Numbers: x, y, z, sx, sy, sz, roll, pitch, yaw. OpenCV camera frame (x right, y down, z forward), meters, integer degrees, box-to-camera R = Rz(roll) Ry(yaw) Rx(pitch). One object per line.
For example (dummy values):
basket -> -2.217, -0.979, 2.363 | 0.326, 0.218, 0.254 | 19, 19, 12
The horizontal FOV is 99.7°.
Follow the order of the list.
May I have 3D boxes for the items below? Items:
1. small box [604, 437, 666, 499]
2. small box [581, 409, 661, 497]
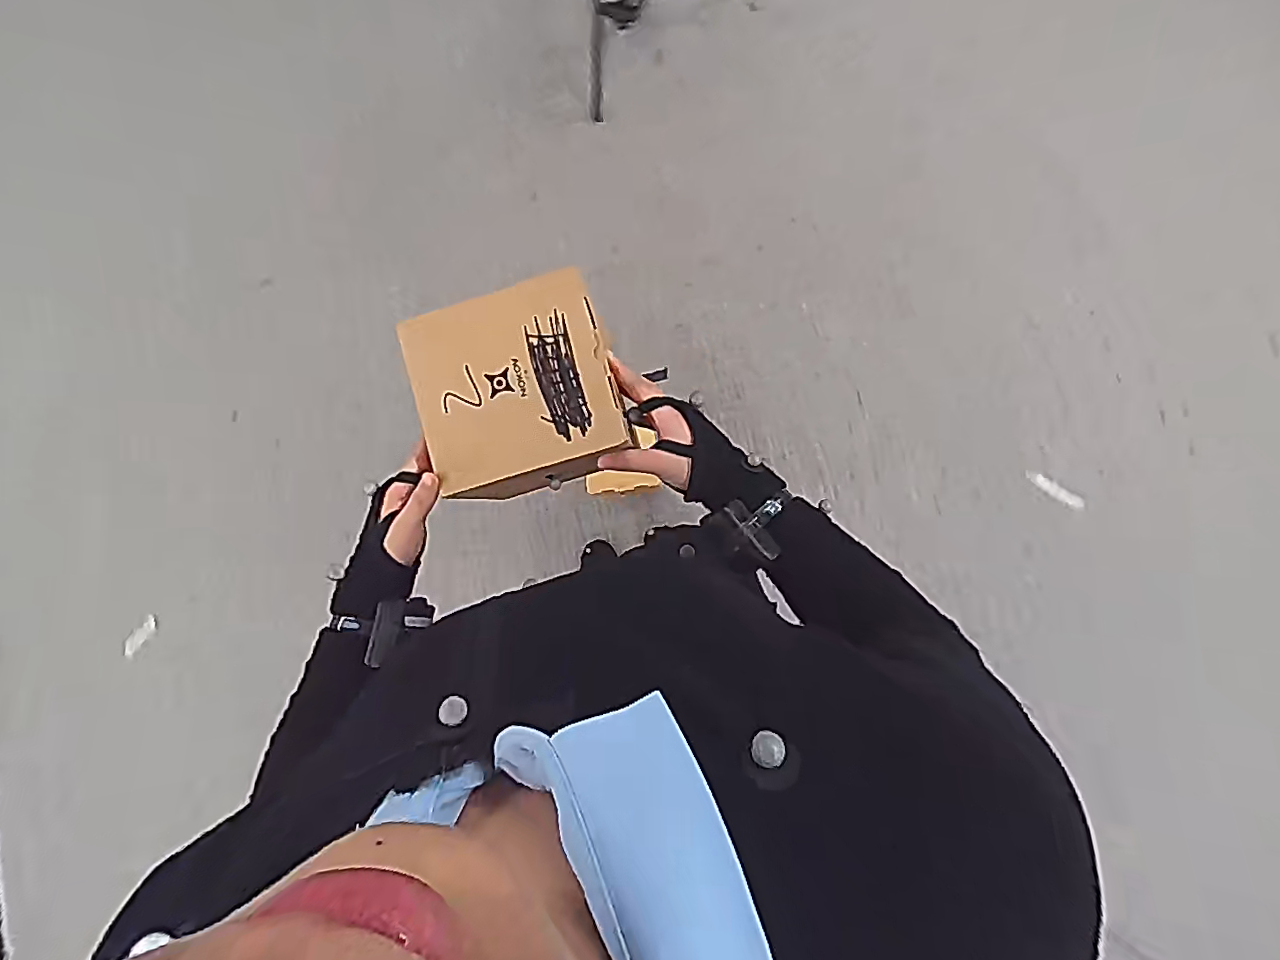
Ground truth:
small box -> -0.026, -0.049, 1.439 | 0.168, 0.176, 0.179 | -14, 84, 2
small box -> -0.040, -0.057, 1.277 | 0.168, 0.176, 0.179 | -7, 85, 3
